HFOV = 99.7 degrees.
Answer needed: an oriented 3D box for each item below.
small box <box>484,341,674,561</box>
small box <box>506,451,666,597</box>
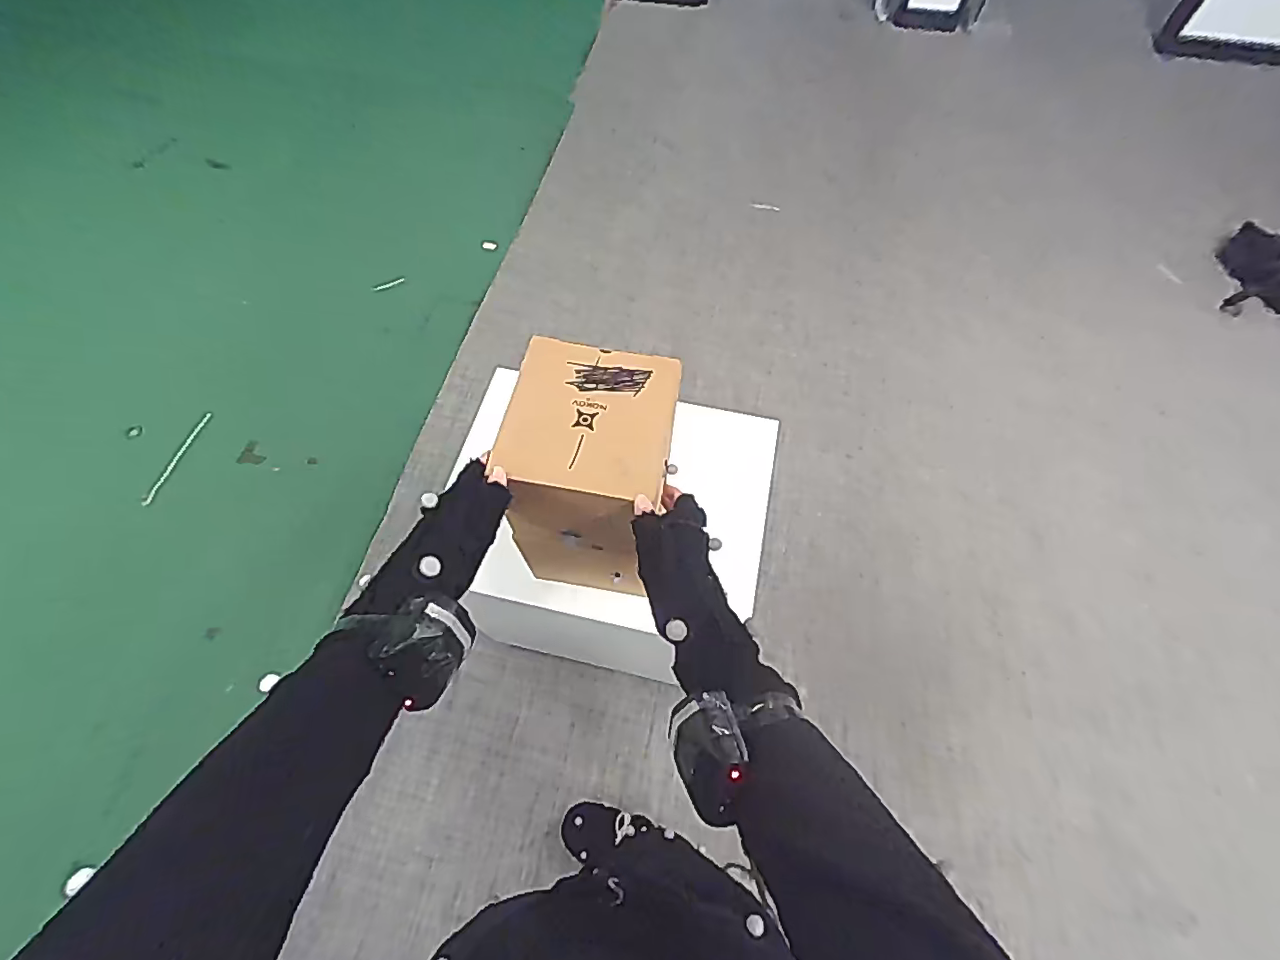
[{"bbox_3d":[-0.057,-0.027,0.611,0.168,0.176,0.179,7,61,3],"label":"small box"},{"bbox_3d":[-0.063,0.055,0.753,0.179,0.176,0.168,8,62,6],"label":"small box"}]
